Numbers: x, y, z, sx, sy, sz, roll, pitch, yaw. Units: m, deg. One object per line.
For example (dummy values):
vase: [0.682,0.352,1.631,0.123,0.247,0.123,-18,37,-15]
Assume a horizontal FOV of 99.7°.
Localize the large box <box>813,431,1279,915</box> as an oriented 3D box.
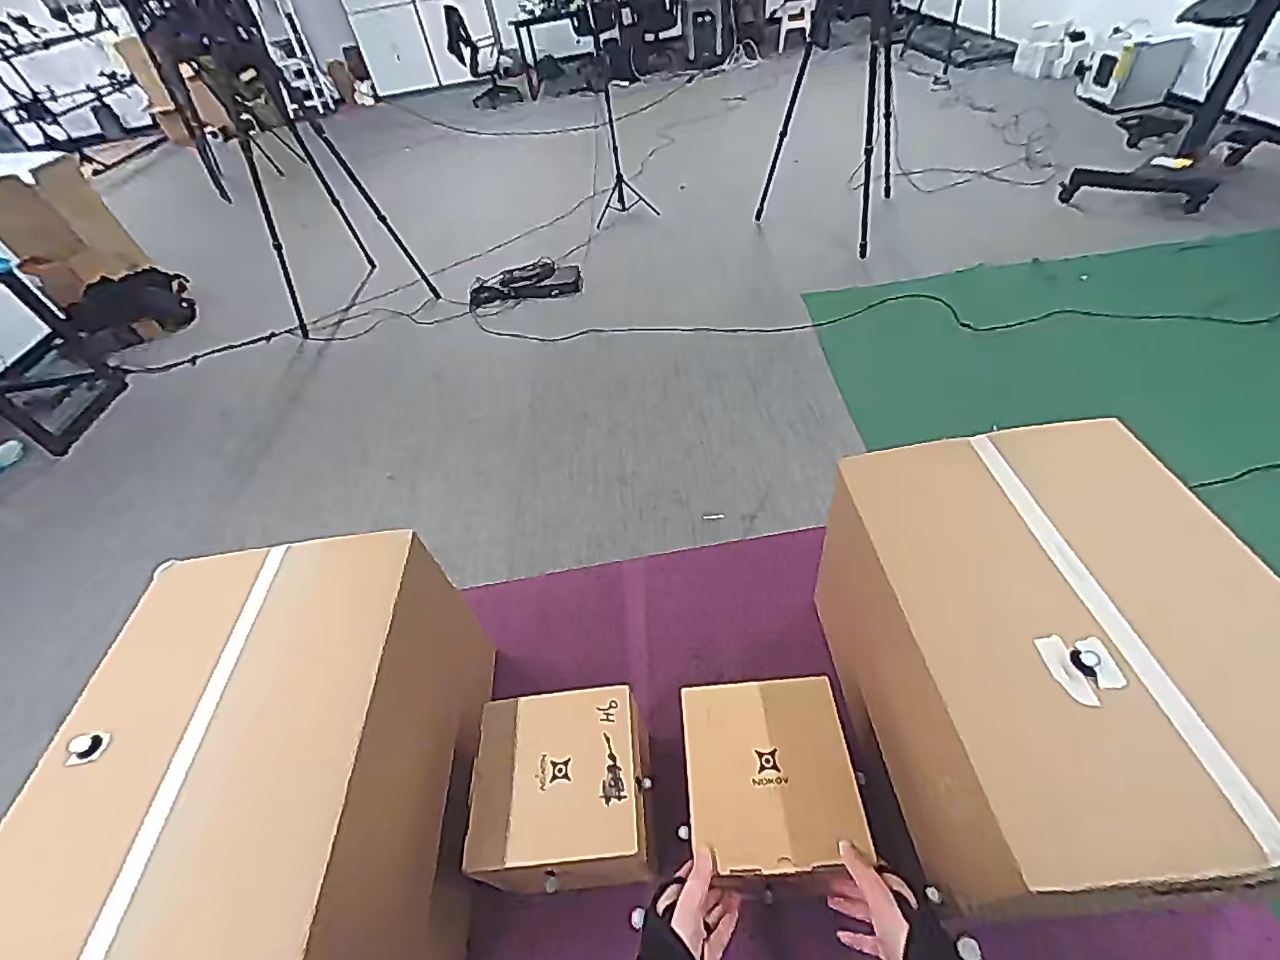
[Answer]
large box: [0.415,0.205,0.598,0.320,0.320,0.408,-8,47,3]
